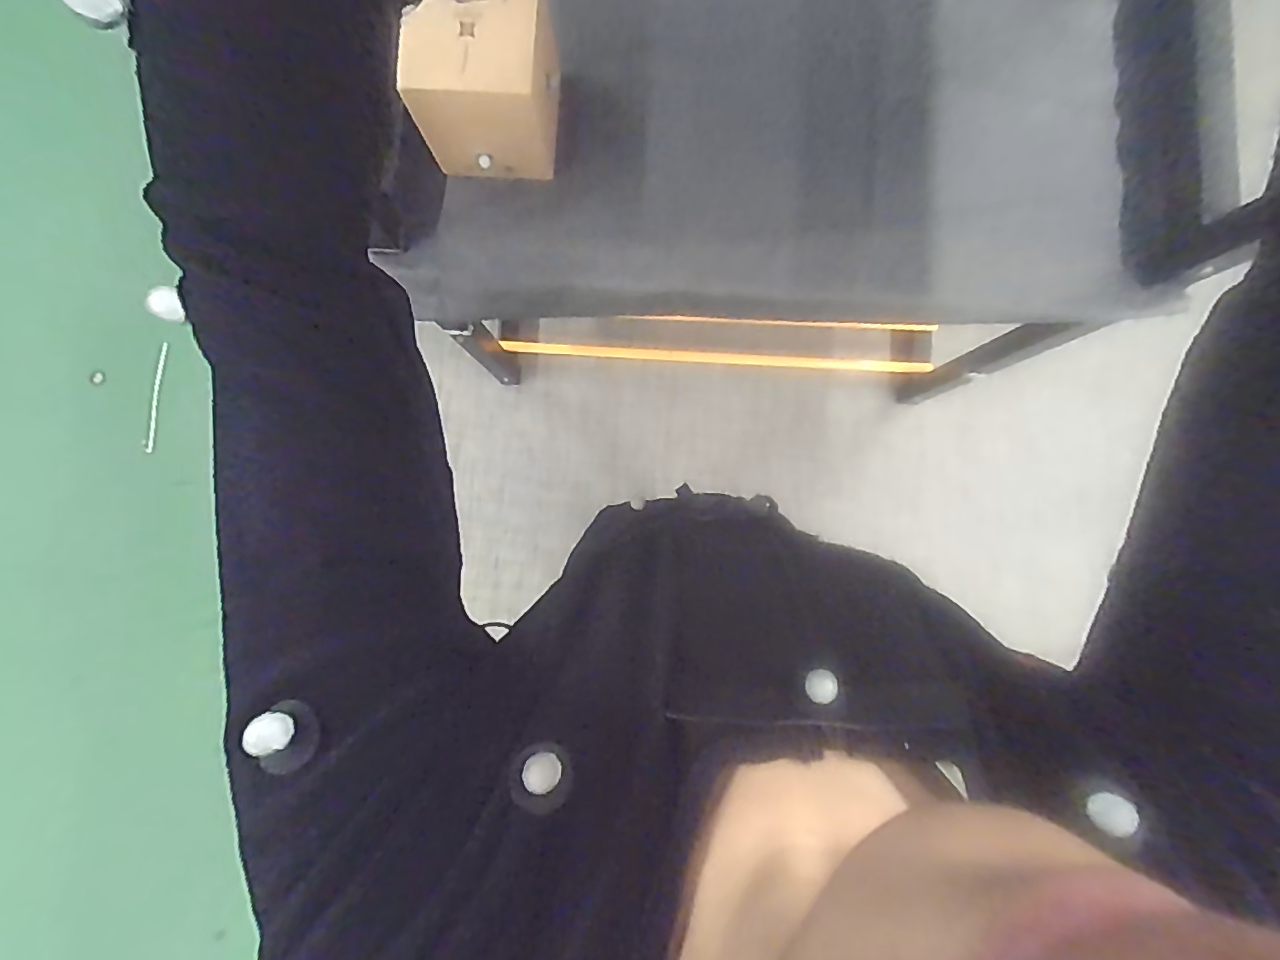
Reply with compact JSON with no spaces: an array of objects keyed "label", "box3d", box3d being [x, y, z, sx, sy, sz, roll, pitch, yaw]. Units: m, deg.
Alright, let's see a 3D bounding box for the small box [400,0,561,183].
[{"label":"small box","box3d":[-0.204,-0.544,0.738,0.168,0.176,0.179,3,86,0]}]
